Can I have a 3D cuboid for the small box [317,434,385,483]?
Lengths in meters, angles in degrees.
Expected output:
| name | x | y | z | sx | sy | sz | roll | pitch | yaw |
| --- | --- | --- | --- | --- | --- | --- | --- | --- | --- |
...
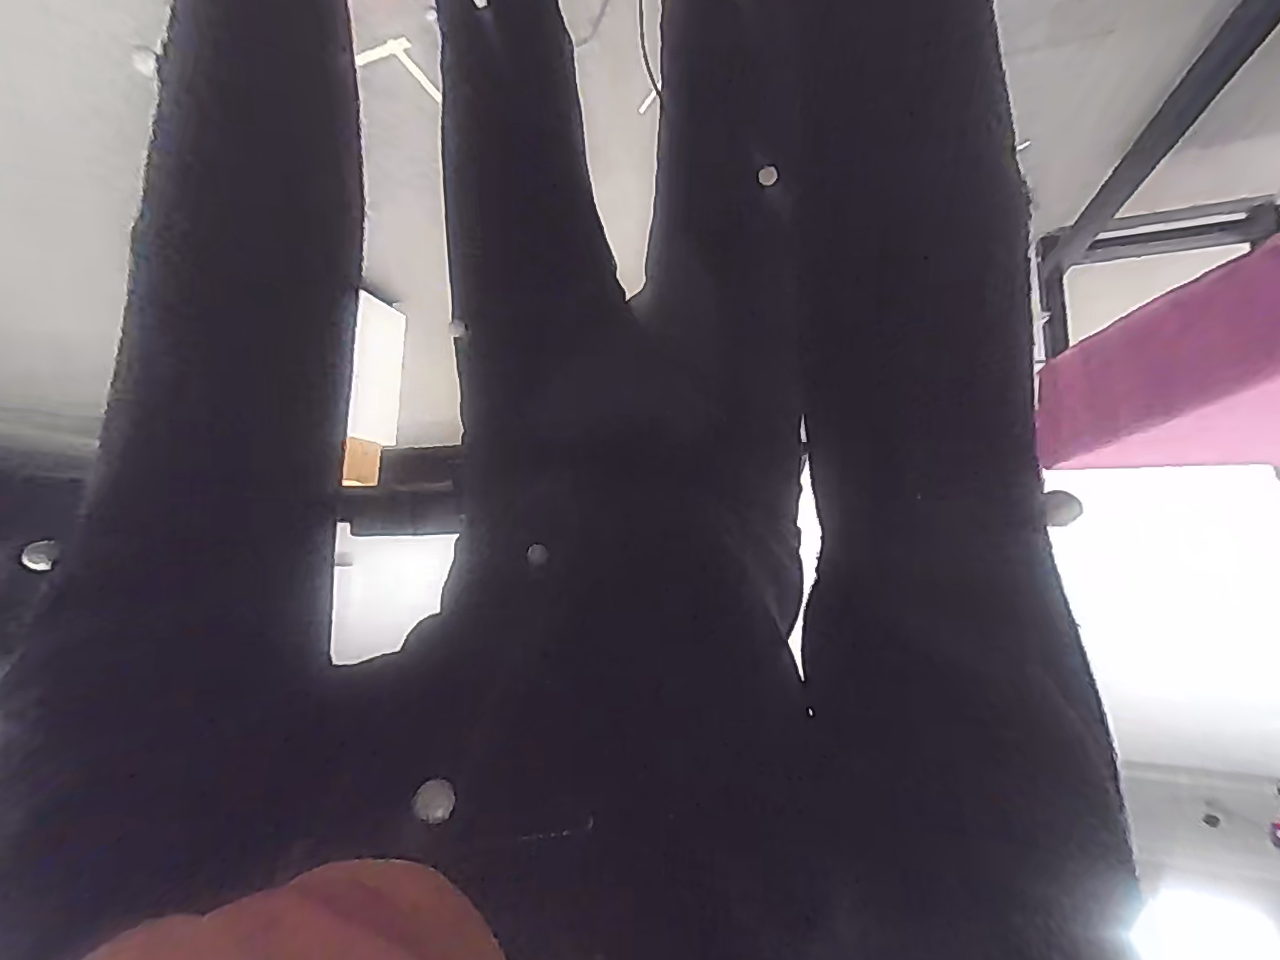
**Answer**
| name | x | y | z | sx | sy | sz | roll | pitch | yaw |
| --- | --- | --- | --- | --- | --- | --- | --- | --- | --- |
| small box | -1.141 | -0.083 | 2.148 | 0.179 | 0.176 | 0.168 | 0 | 173 | 18 |
